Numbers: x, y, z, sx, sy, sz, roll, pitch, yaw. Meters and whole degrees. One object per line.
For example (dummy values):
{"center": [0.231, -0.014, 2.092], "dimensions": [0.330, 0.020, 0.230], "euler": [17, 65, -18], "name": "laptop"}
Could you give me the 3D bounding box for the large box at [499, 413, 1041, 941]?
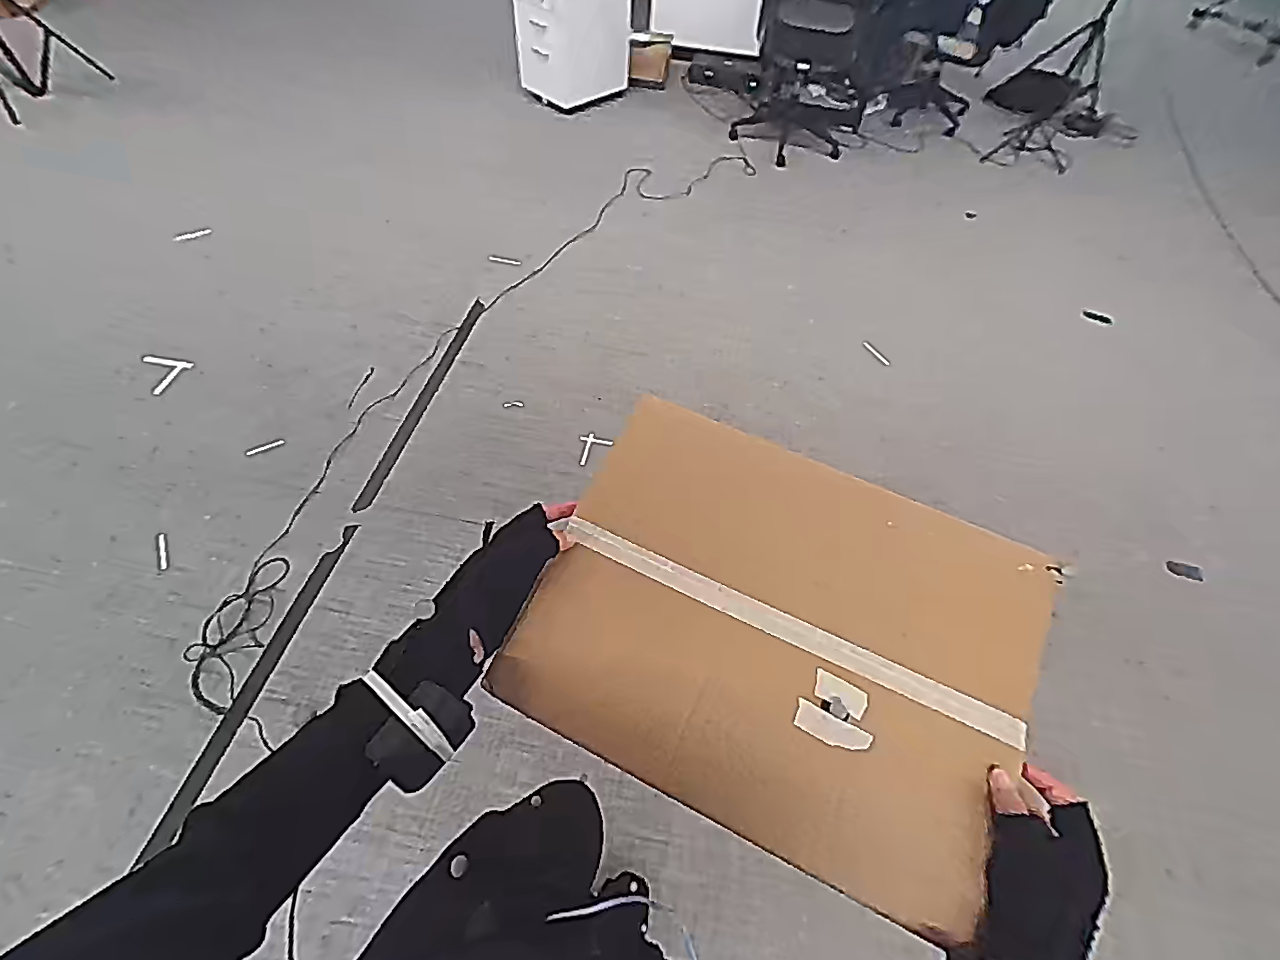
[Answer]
{"center": [0.123, 0.187, 0.611], "dimensions": [0.408, 0.320, 0.320], "euler": [24, 71, 11], "name": "large box"}
